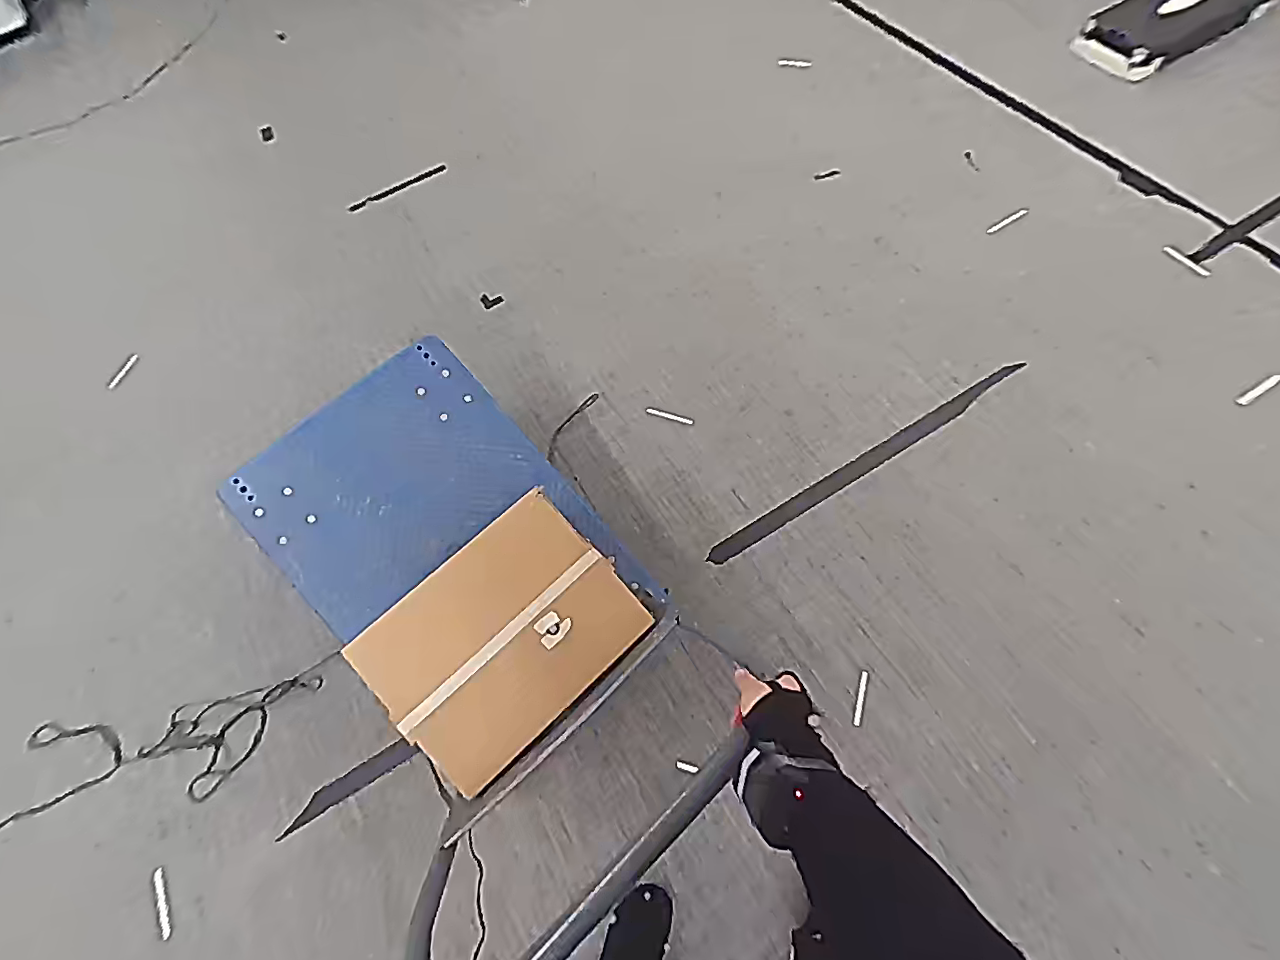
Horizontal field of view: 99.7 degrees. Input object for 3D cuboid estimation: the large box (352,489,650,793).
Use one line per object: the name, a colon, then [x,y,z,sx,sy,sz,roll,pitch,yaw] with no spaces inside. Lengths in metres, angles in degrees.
large box: [-0.243,0.284,1.045,0.408,0.320,0.320,-43,88,-13]
